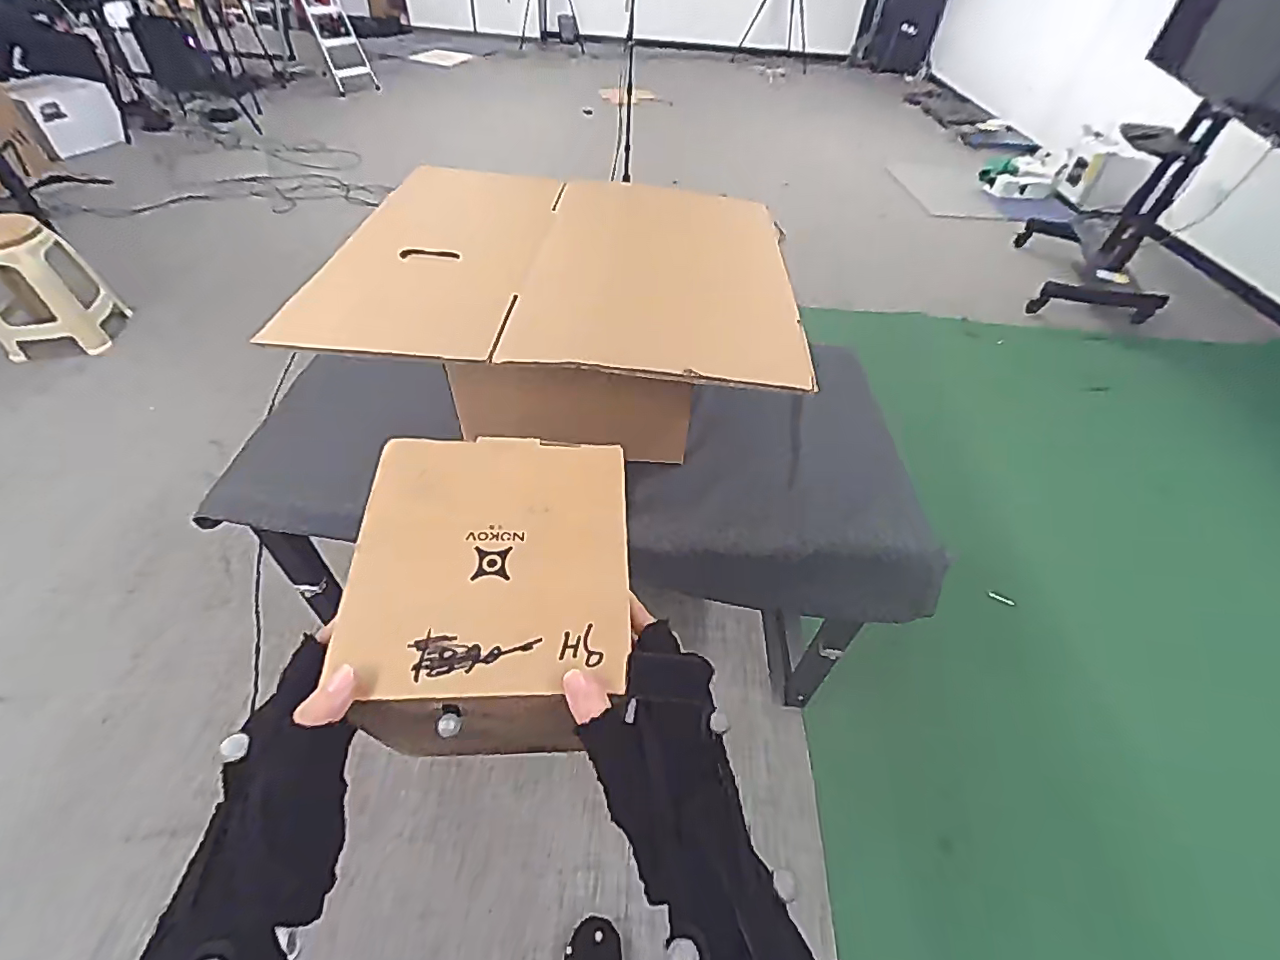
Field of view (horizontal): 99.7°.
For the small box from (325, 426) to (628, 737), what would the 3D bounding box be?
[{"bbox_3d":[-0.098,0.080,0.407,0.168,0.176,0.179,0,55,-5],"label":"small box"}]
